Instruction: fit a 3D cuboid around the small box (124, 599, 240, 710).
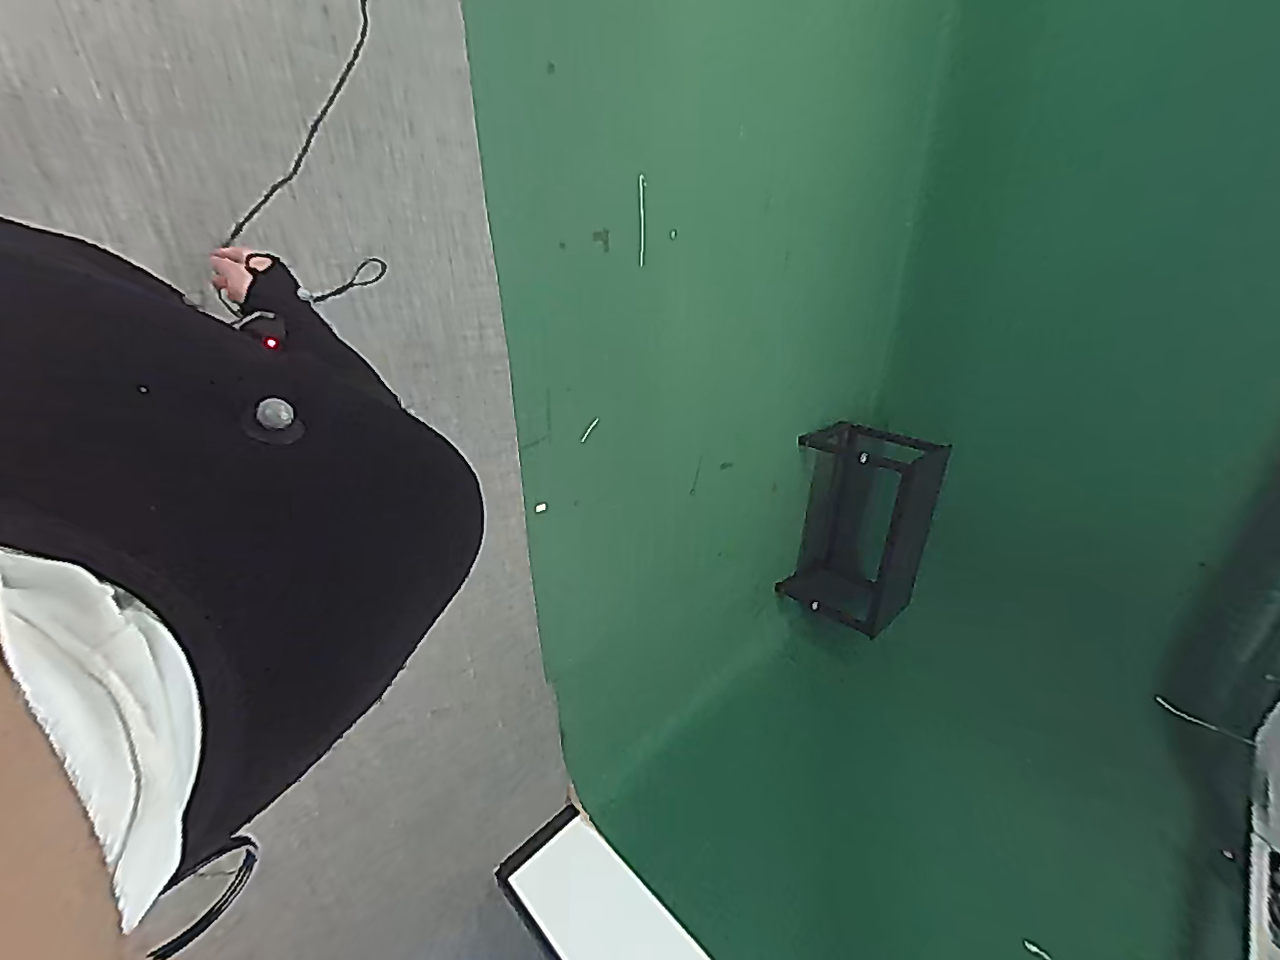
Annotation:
[{"bbox_3d":[-1.151,0.428,1.360,0.179,0.176,0.168,-23,123,-40],"label":"small box"}]
